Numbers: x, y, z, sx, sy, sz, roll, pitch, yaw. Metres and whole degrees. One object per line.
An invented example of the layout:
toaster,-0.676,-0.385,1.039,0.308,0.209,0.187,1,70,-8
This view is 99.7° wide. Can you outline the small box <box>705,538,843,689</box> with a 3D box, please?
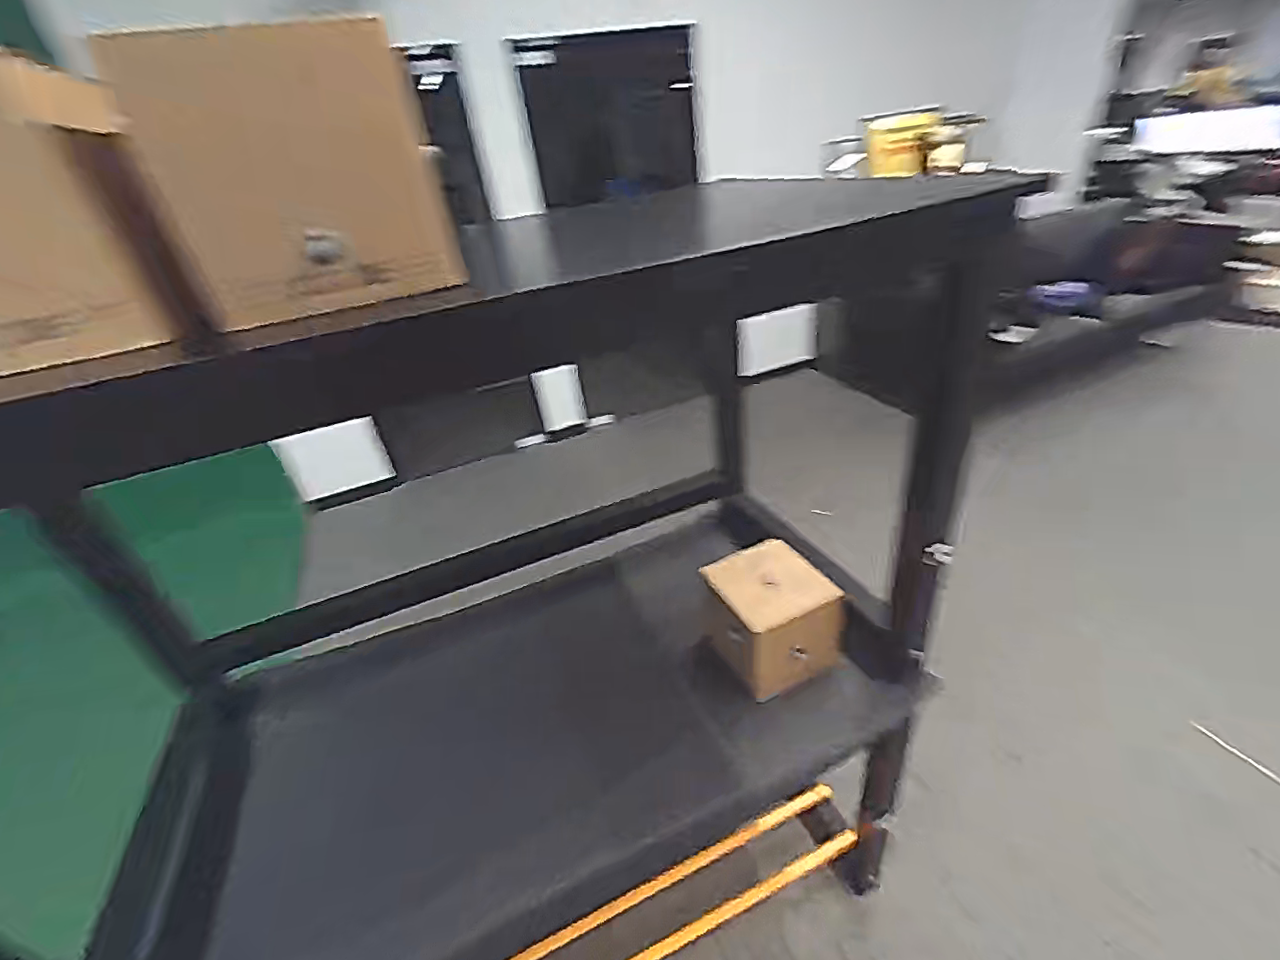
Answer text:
small box,0.232,0.237,0.951,0.168,0.176,0.179,-19,32,-16
